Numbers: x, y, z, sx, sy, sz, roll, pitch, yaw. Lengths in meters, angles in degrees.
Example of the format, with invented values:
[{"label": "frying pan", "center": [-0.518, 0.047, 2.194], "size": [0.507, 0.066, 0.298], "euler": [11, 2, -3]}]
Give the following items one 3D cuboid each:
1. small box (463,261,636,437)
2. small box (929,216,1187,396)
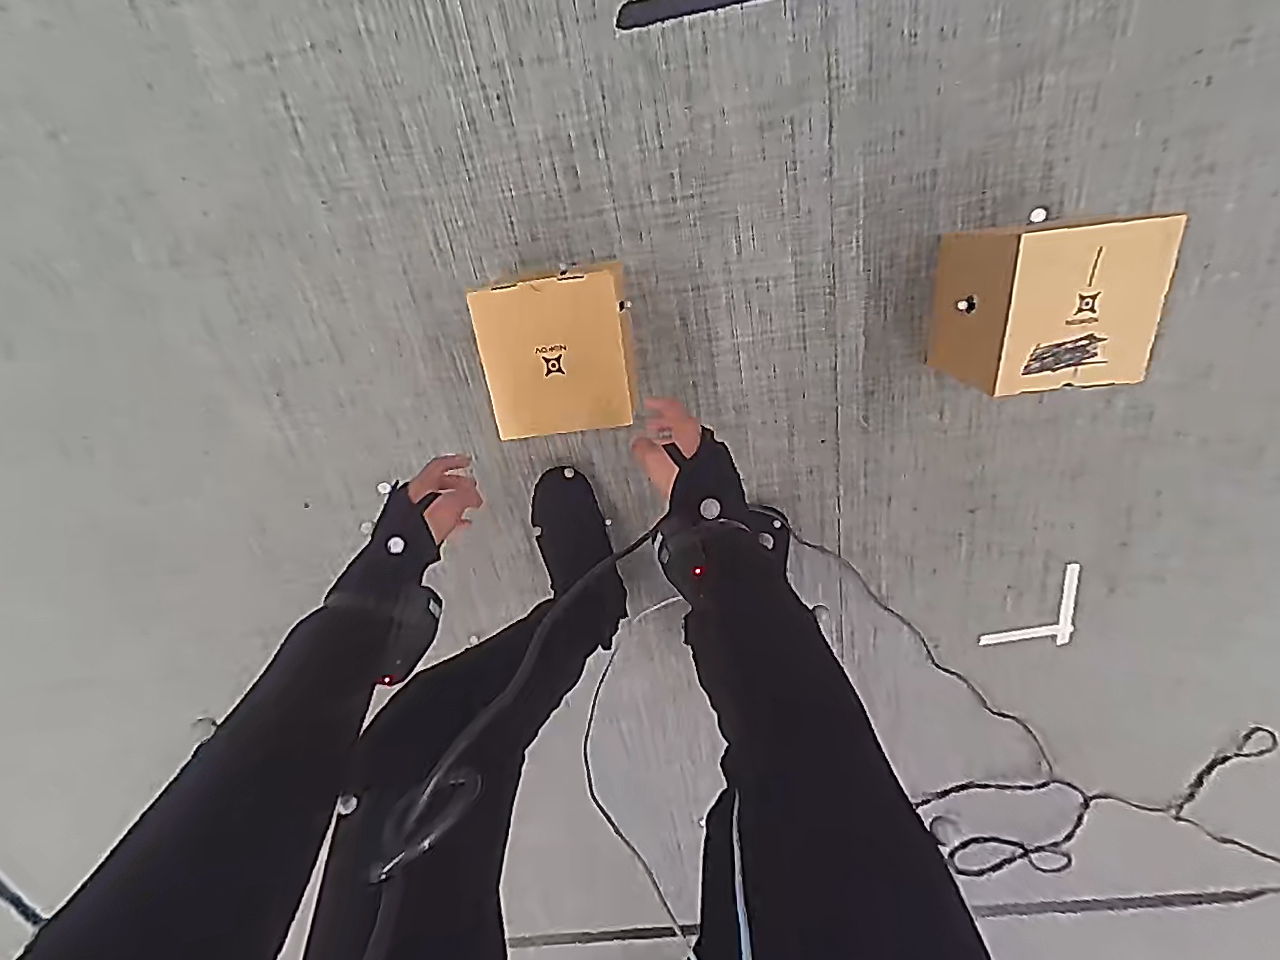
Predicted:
[{"label": "small box", "center": [-0.098, -0.170, 0.682], "size": [0.168, 0.176, 0.179], "euler": [-6, 114, 4]}, {"label": "small box", "center": [0.473, -0.213, 0.649], "size": [0.168, 0.176, 0.179], "euler": [-5, 114, 3]}]
